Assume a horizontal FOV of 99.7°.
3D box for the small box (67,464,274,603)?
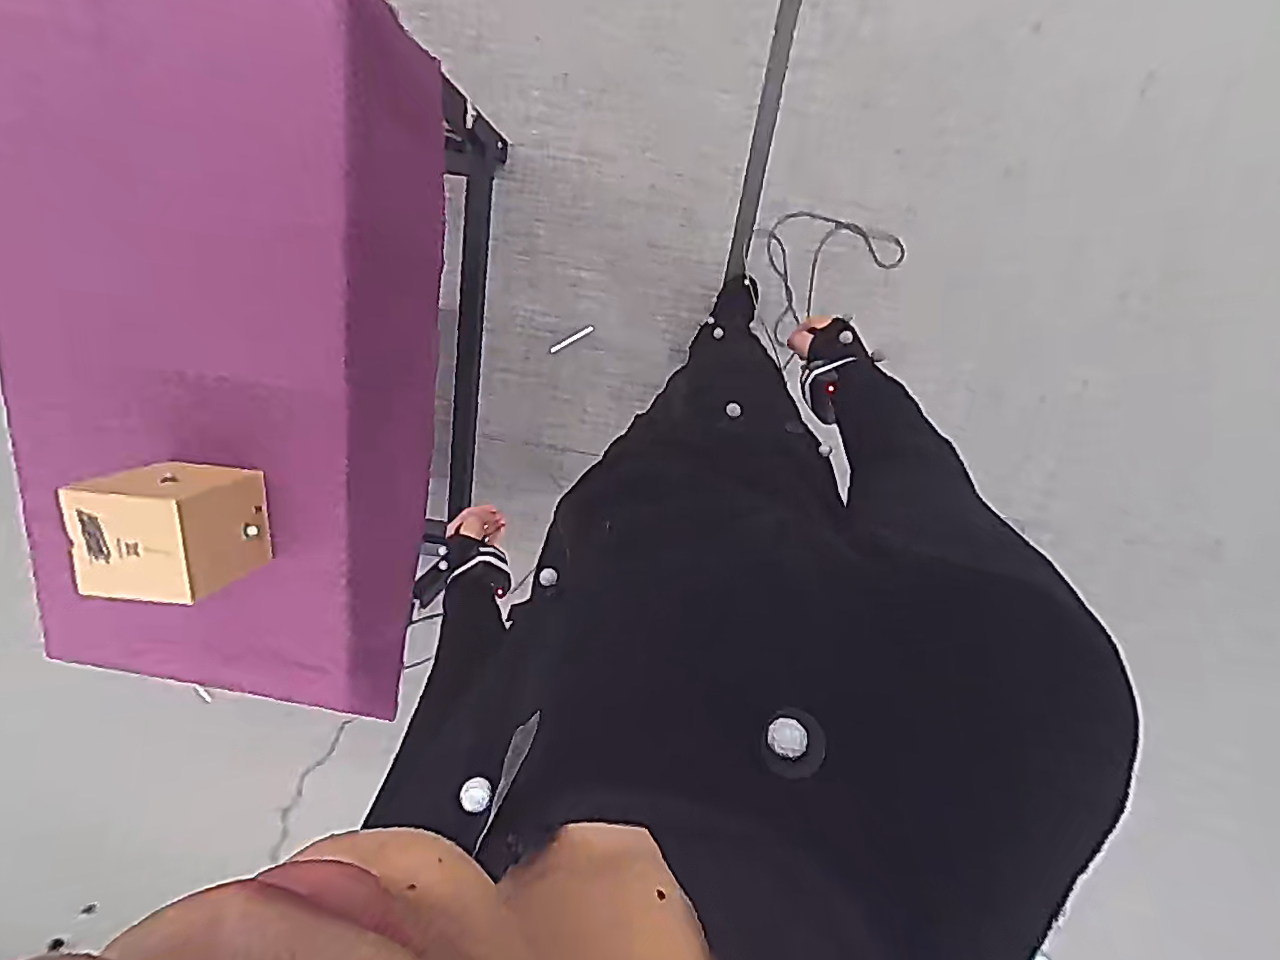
[{"bbox_3d":[-0.730,0.075,0.862,0.179,0.176,0.168,5,106,3],"label":"small box"}]
